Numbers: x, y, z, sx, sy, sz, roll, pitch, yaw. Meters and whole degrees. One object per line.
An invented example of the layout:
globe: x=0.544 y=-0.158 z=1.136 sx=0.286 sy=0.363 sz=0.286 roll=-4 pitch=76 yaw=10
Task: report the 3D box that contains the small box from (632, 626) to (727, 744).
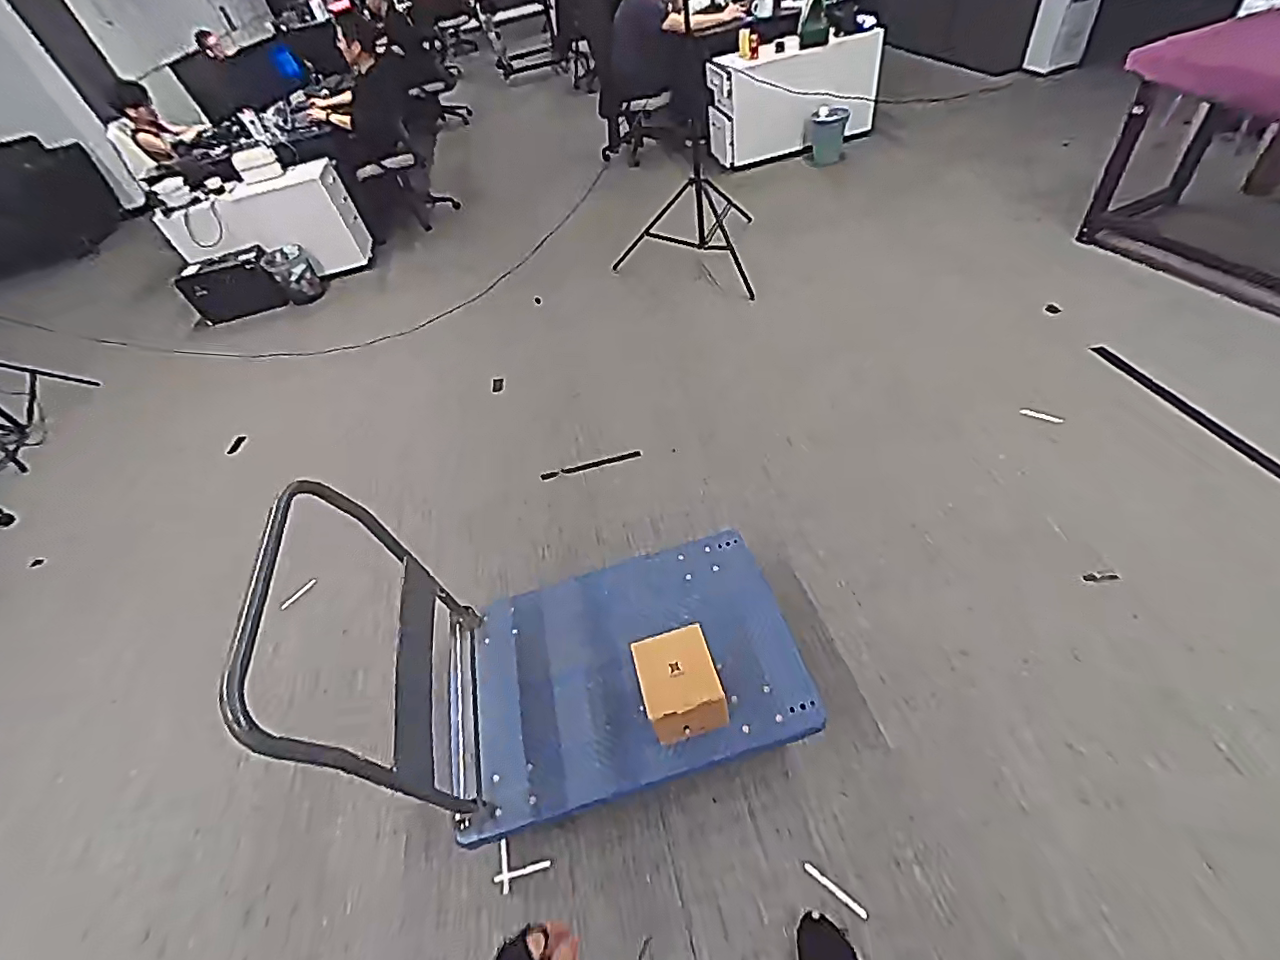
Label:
small box: x=0.090 y=0.465 z=1.224 sx=0.168 sy=0.176 sz=0.179 roll=-17 pitch=47 yaw=-3
